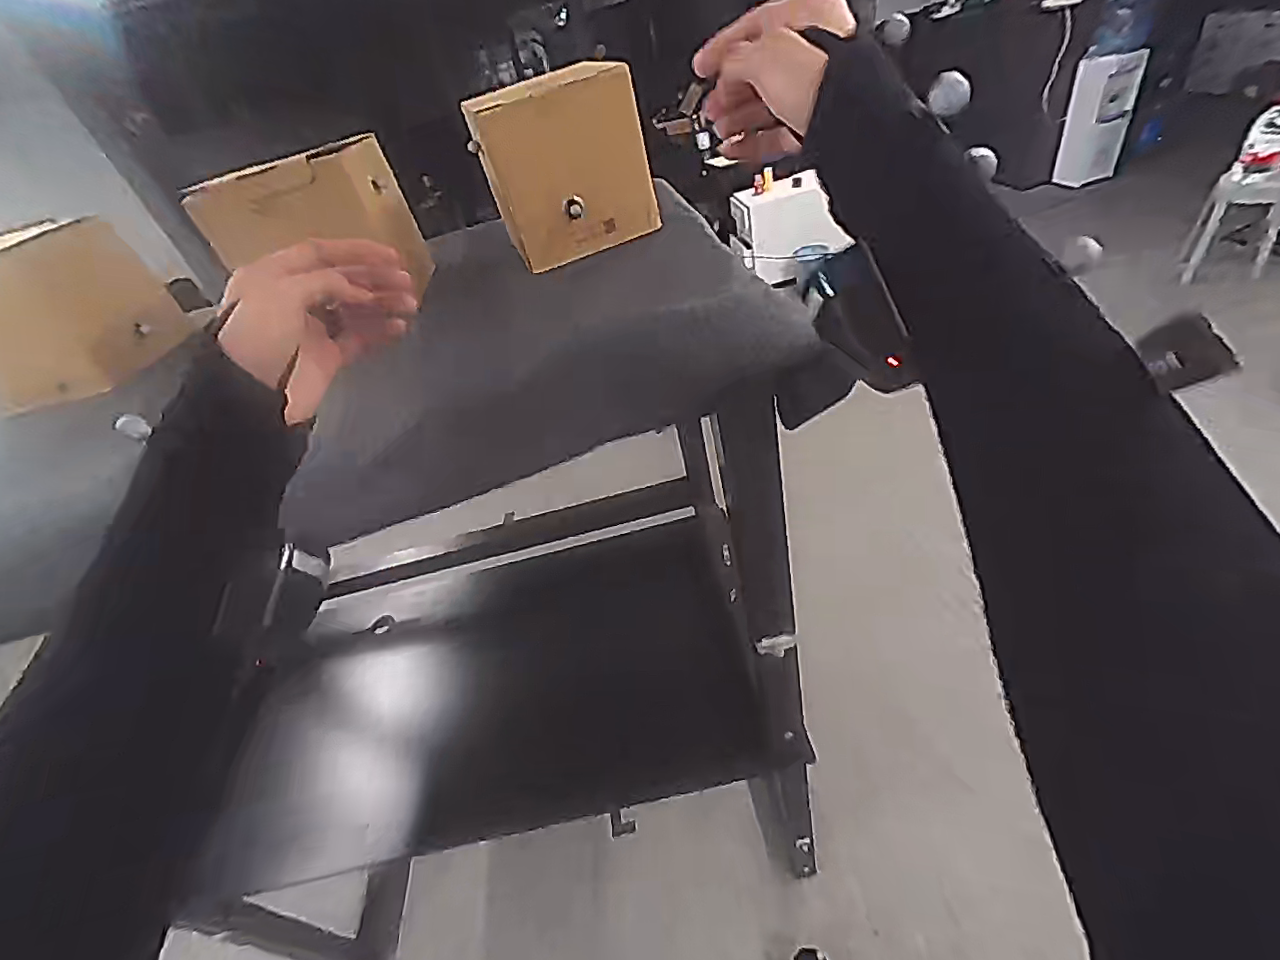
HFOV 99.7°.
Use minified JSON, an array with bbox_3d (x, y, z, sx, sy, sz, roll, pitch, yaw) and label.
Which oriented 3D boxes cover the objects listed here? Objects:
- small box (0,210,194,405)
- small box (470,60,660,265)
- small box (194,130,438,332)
[{"bbox_3d":[-0.731,-0.220,0.689,0.168,0.176,0.179,-11,39,6],"label":"small box"},{"bbox_3d":[-0.090,-0.383,0.656,0.168,0.176,0.179,-22,41,-6],"label":"small box"},{"bbox_3d":[-0.363,-0.295,0.651,0.168,0.176,0.179,-16,38,1],"label":"small box"}]
